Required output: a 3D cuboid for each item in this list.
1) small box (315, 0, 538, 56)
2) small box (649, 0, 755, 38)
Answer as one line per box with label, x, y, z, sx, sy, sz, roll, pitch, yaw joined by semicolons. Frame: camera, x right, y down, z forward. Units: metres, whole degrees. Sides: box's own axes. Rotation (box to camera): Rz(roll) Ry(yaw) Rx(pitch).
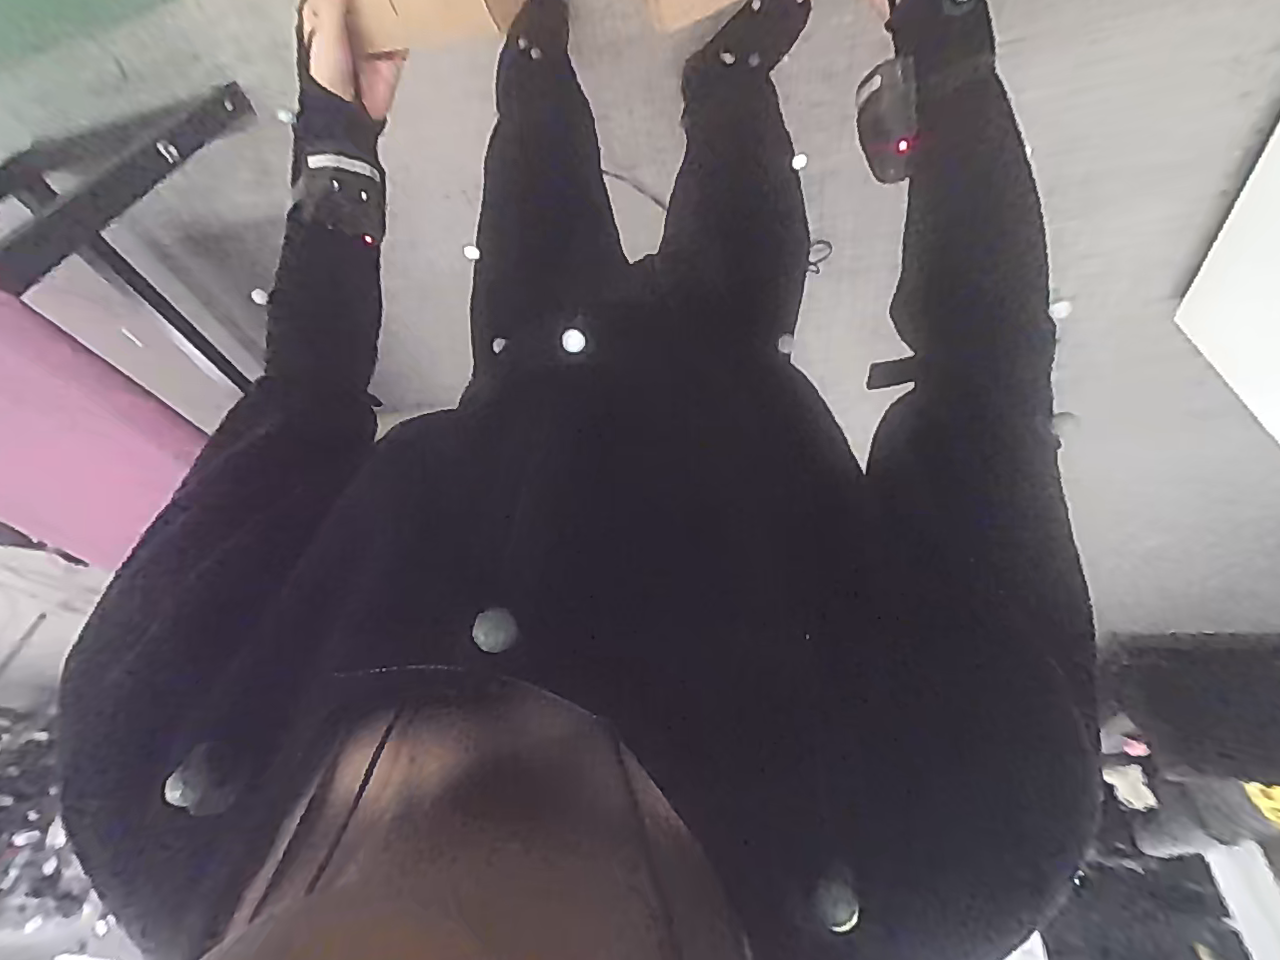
small box;-0.156;-0.432;0.356;0.168;0.176;0.179;16;165;23
small box;0.055;-0.438;0.329;0.179;0.176;0.168;-22;161;5
